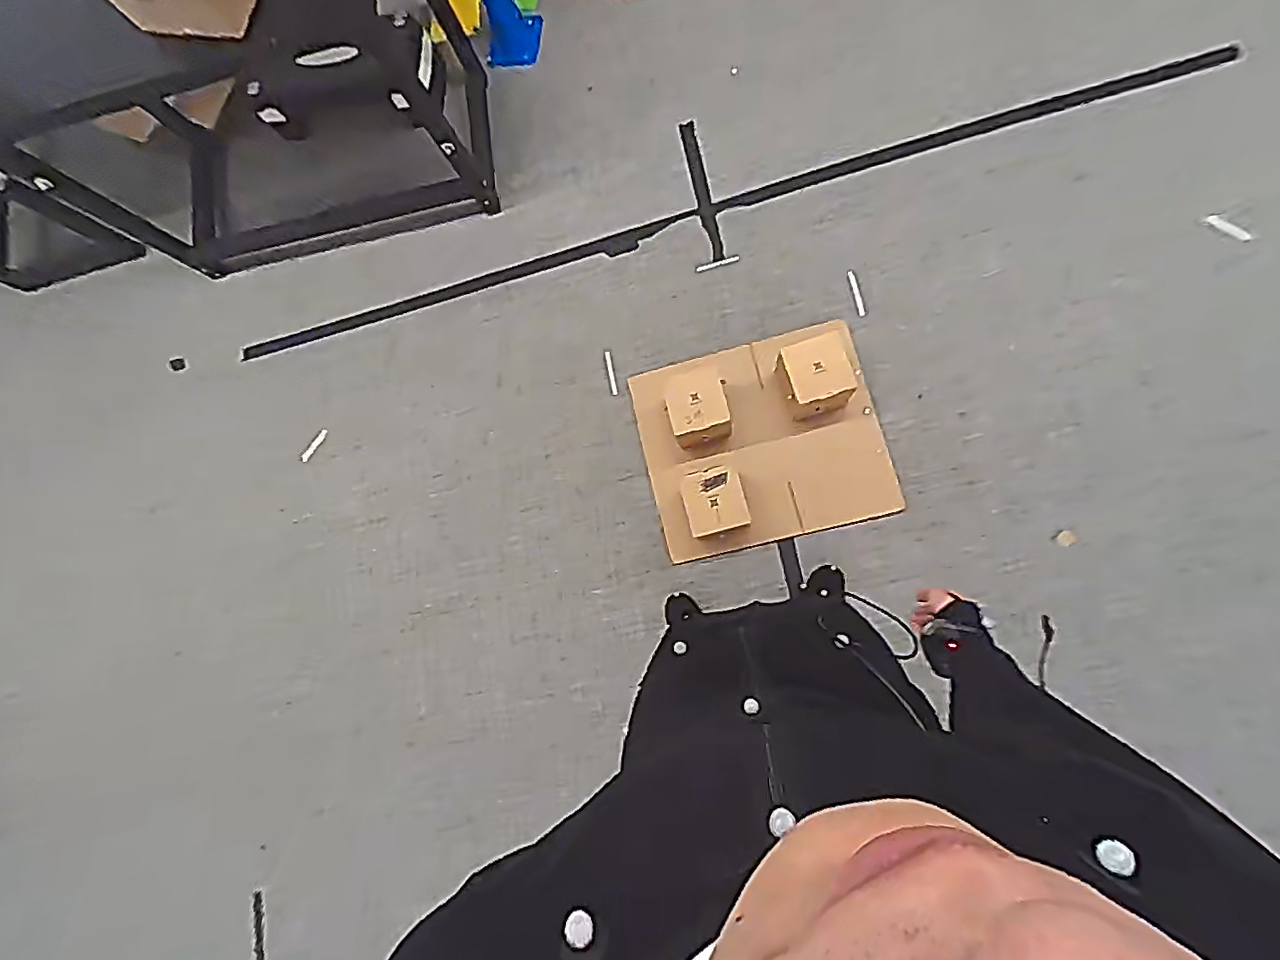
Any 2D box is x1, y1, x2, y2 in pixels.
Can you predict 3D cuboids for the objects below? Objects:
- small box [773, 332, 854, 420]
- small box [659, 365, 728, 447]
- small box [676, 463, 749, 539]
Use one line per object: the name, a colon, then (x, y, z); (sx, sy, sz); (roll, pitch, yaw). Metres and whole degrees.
small box: (0.492, -0.293, 1.564); (0.168, 0.176, 0.179); (-18, 79, 6)
small box: (0.160, -0.212, 1.598); (0.168, 0.176, 0.179); (-15, 80, 7)
small box: (0.206, 0.066, 1.552); (0.168, 0.176, 0.179); (-16, 80, 7)
